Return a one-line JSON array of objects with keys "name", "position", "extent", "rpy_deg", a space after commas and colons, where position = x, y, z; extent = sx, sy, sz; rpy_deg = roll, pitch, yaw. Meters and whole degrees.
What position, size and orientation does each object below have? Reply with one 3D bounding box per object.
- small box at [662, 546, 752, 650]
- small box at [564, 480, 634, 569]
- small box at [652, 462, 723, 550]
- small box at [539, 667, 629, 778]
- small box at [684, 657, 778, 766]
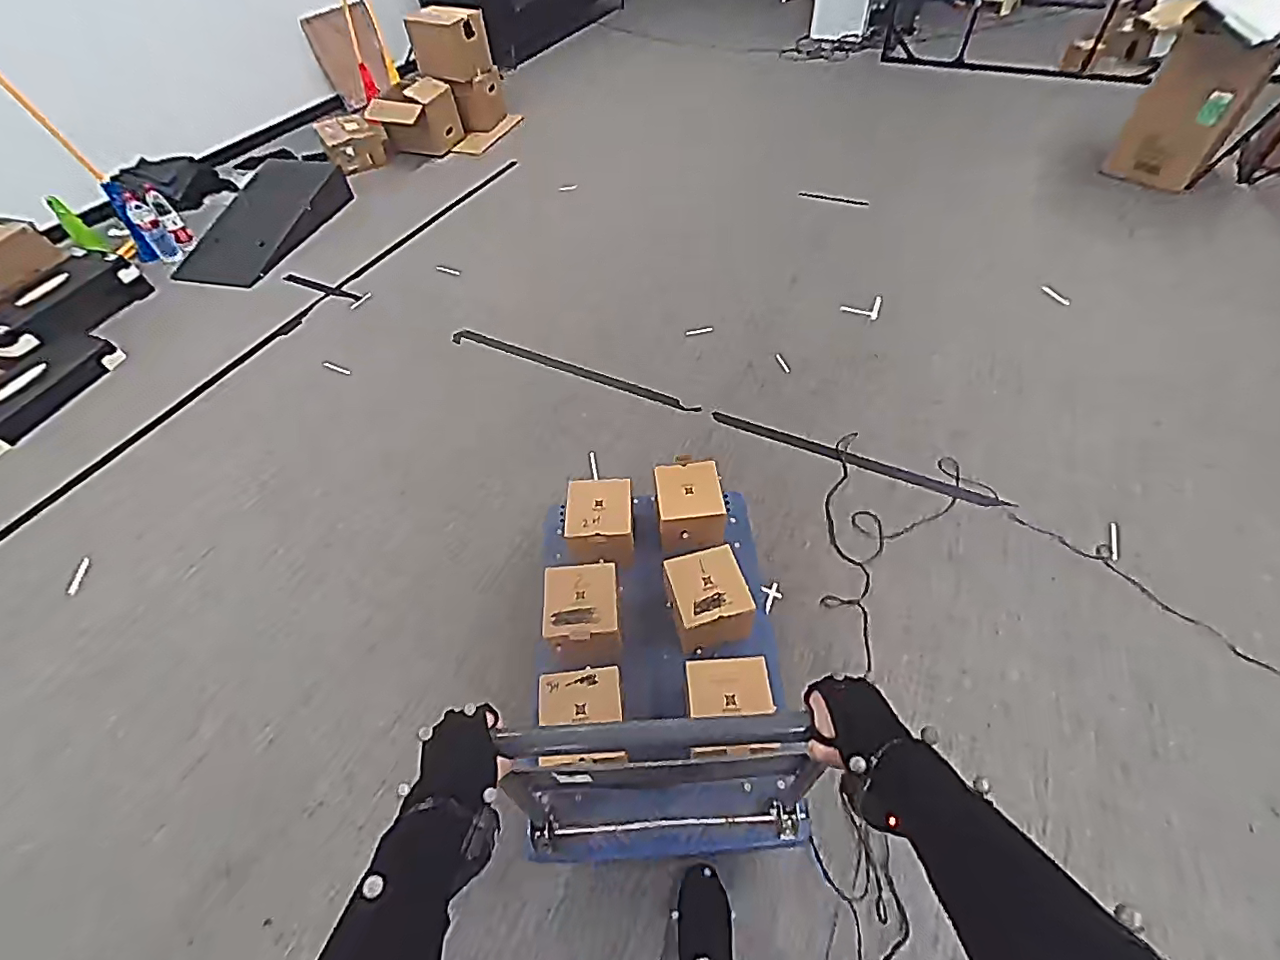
[{"name": "small box", "position": [0.156, 0.289, 1.294], "extent": [0.168, 0.176, 0.179], "rpy_deg": [-13, 52, -7]}, {"name": "small box", "position": [-0.104, 0.120, 1.440], "extent": [0.168, 0.176, 0.179], "rpy_deg": [-2, 53, 1]}, {"name": "small box", "position": [0.126, 0.077, 1.464], "extent": [0.168, 0.176, 0.179], "rpy_deg": [-6, 52, -2]}, {"name": "small box", "position": [-0.115, 0.513, 1.132], "extent": [0.168, 0.176, 0.179], "rpy_deg": [-6, 52, -3]}, {"name": "small box", "position": [0.182, 0.490, 1.135], "extent": [0.168, 0.176, 0.179], "rpy_deg": [-3, 51, 0]}]
